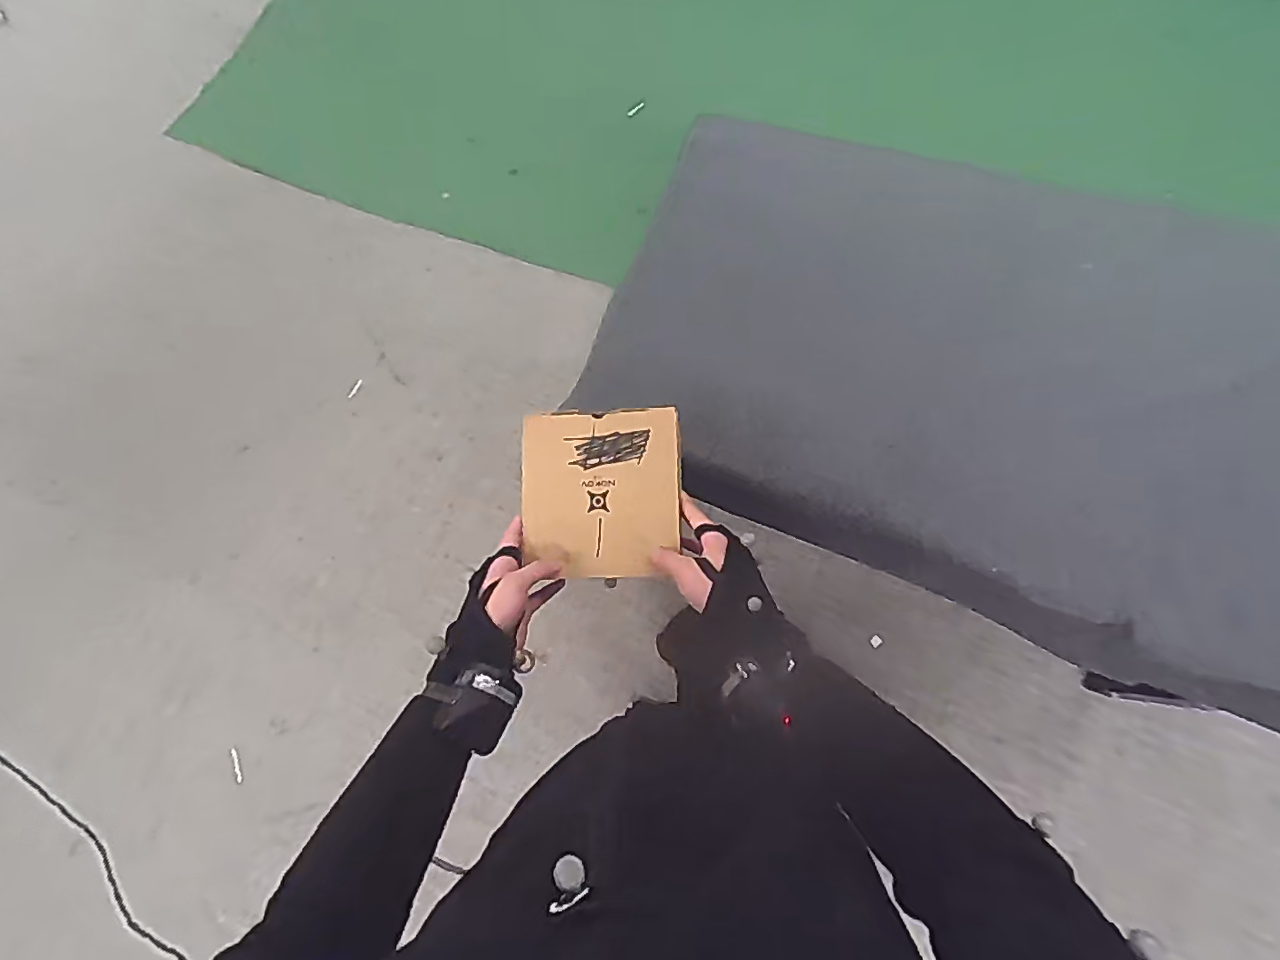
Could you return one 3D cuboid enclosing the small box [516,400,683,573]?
[{"bbox_3d":[-0.035,0.017,0.623,0.168,0.176,0.179,-1,82,5],"label":"small box"}]
